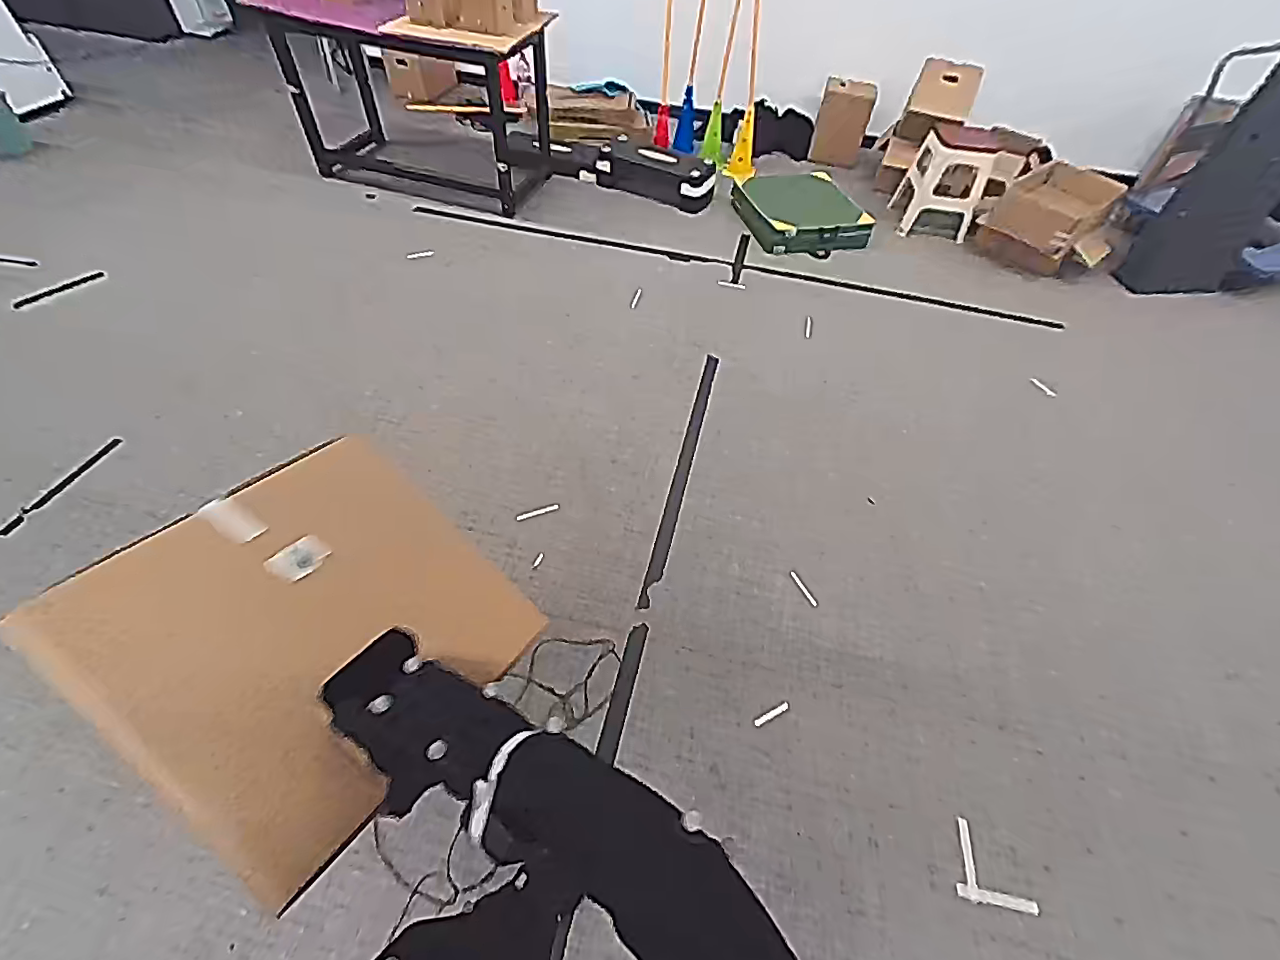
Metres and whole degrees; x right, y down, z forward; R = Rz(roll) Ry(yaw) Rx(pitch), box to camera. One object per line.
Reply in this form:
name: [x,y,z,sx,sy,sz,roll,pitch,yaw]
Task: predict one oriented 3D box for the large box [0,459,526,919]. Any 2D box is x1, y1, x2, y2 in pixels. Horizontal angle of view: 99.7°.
large box: [-0.401,0.247,0.656,0.320,0.408,0.320,43,47,1]
